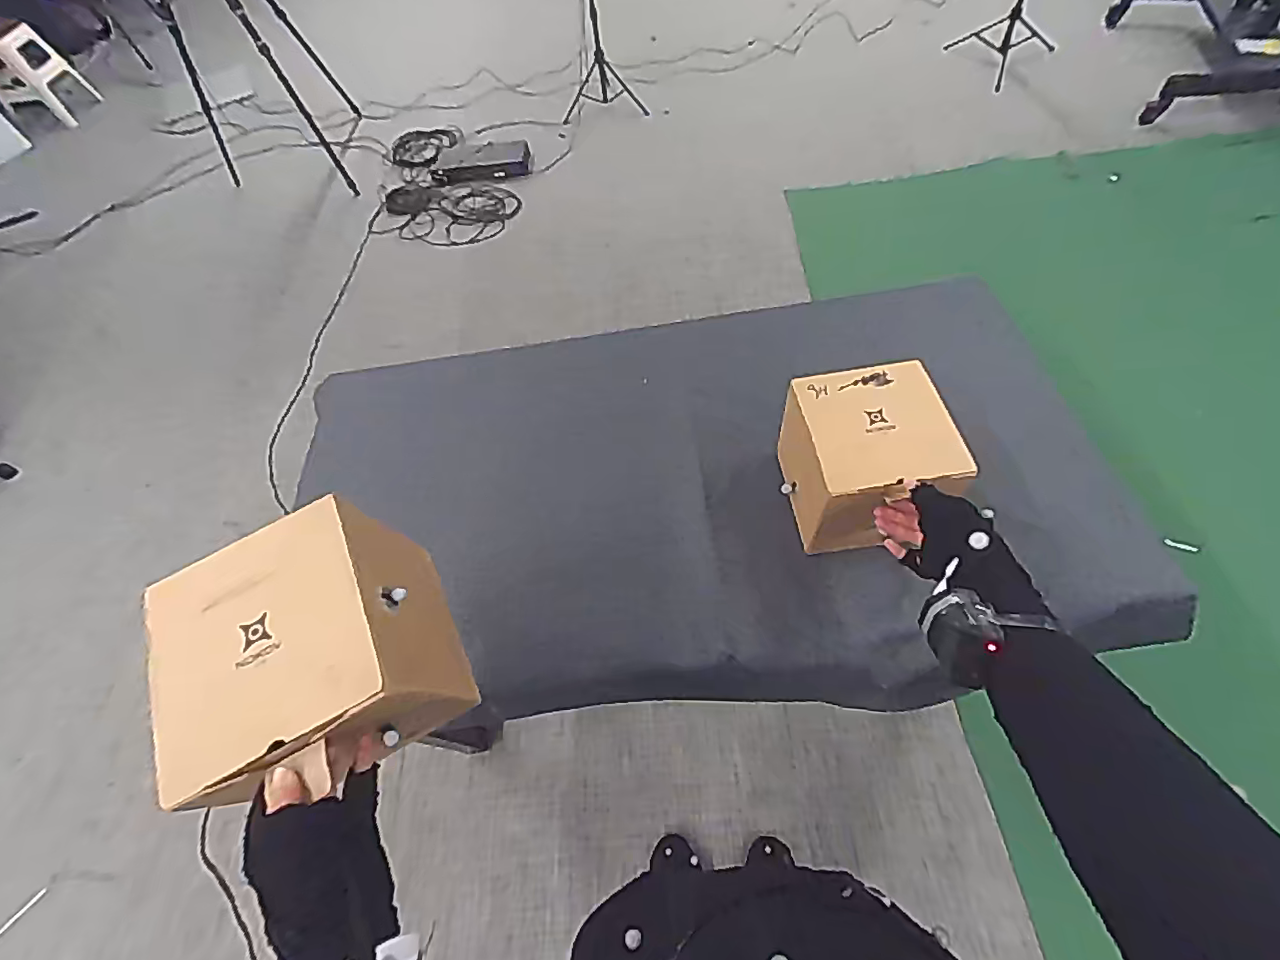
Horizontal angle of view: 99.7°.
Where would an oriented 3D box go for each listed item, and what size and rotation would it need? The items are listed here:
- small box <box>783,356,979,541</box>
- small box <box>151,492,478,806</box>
[{"bbox_3d":[0.293,-0.031,0.705,0.168,0.176,0.179,-8,59,2],"label":"small box"},{"bbox_3d":[-0.267,0.145,0.473,0.168,0.176,0.179,-29,64,-5],"label":"small box"}]
